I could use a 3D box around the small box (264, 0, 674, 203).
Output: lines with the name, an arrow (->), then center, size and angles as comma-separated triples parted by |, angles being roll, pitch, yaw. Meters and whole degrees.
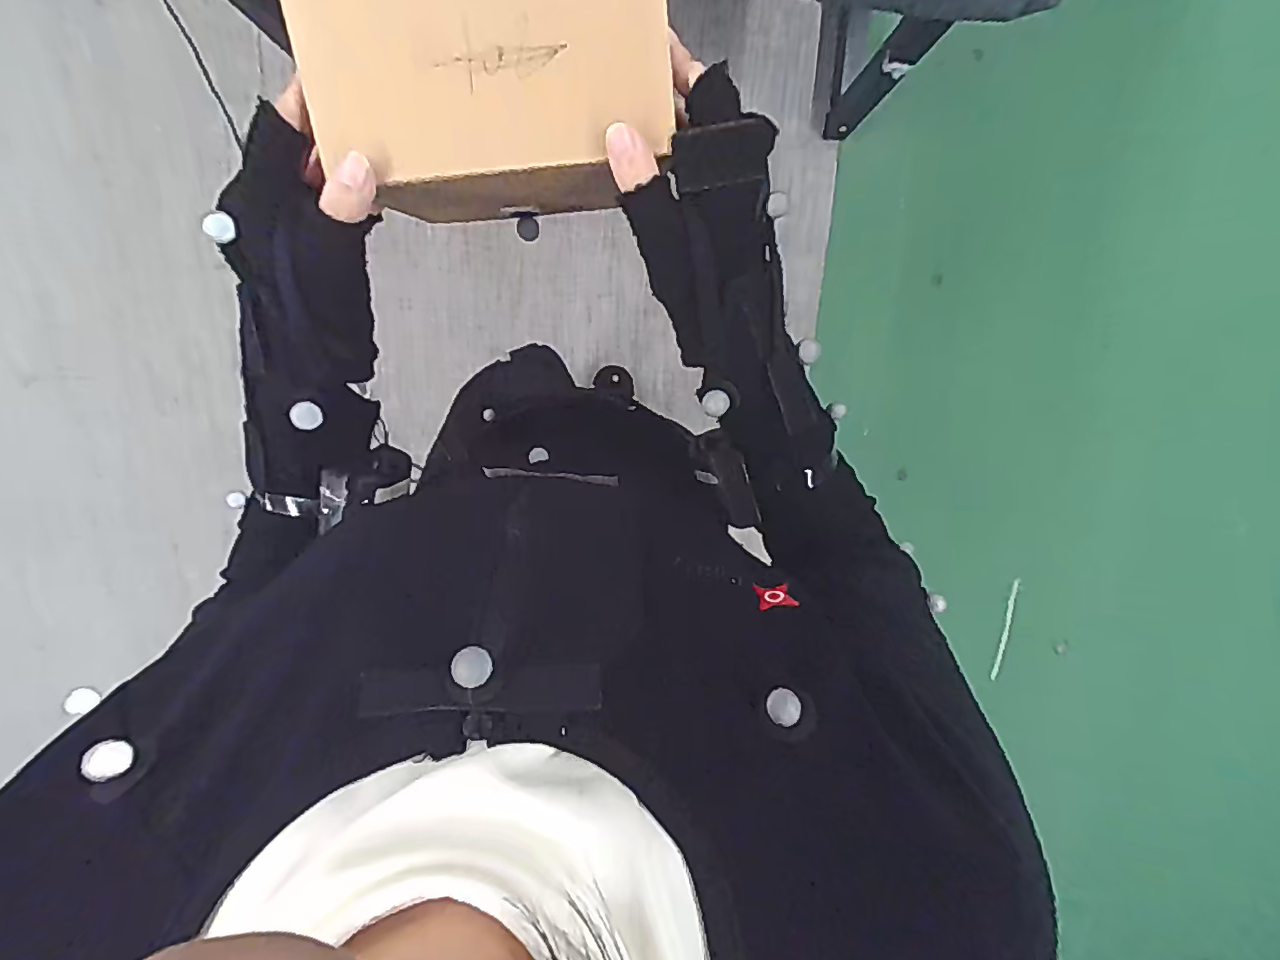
small box -> -0.075, -0.260, 0.283 | 0.168, 0.176, 0.179 | -5, 110, 0
